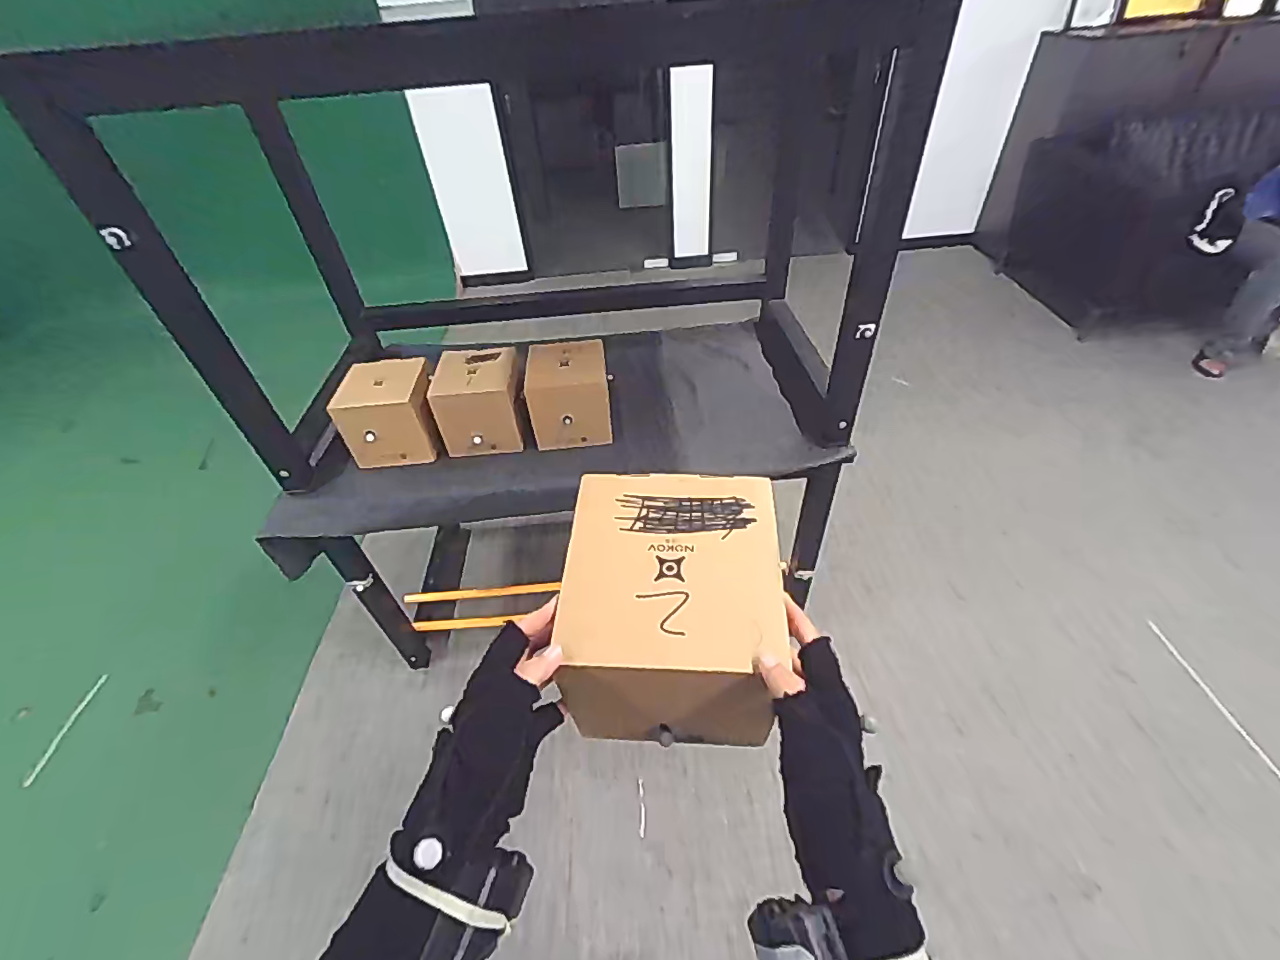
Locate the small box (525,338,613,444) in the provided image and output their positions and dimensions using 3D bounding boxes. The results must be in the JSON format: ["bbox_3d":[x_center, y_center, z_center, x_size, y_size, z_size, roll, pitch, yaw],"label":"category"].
[{"bbox_3d":[-0.151,-0.191,1.199,0.168,0.176,0.179,-5,43,-1],"label":"small box"}]

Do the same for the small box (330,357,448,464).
[{"bbox_3d":[-0.539,-0.148,1.191,0.168,0.176,0.179,-5,43,-1],"label":"small box"}]
